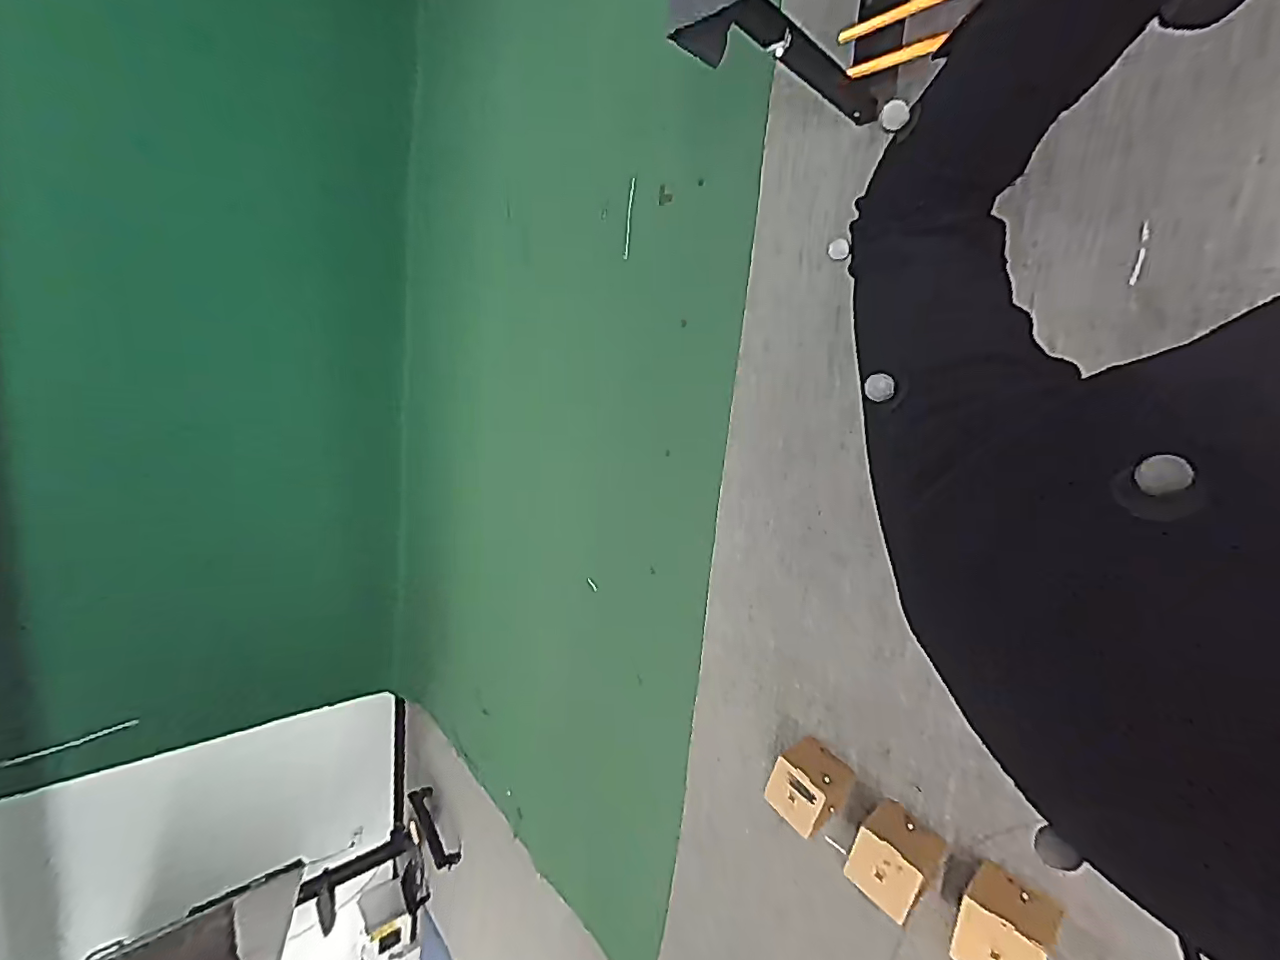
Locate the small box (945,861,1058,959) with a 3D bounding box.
[{"bbox_3d":[0.841,1.050,1.257,0.168,0.176,0.179,17,104,46],"label":"small box"}]

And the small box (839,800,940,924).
[{"bbox_3d":[0.668,1.007,1.441,0.168,0.176,0.179,27,111,43],"label":"small box"}]
